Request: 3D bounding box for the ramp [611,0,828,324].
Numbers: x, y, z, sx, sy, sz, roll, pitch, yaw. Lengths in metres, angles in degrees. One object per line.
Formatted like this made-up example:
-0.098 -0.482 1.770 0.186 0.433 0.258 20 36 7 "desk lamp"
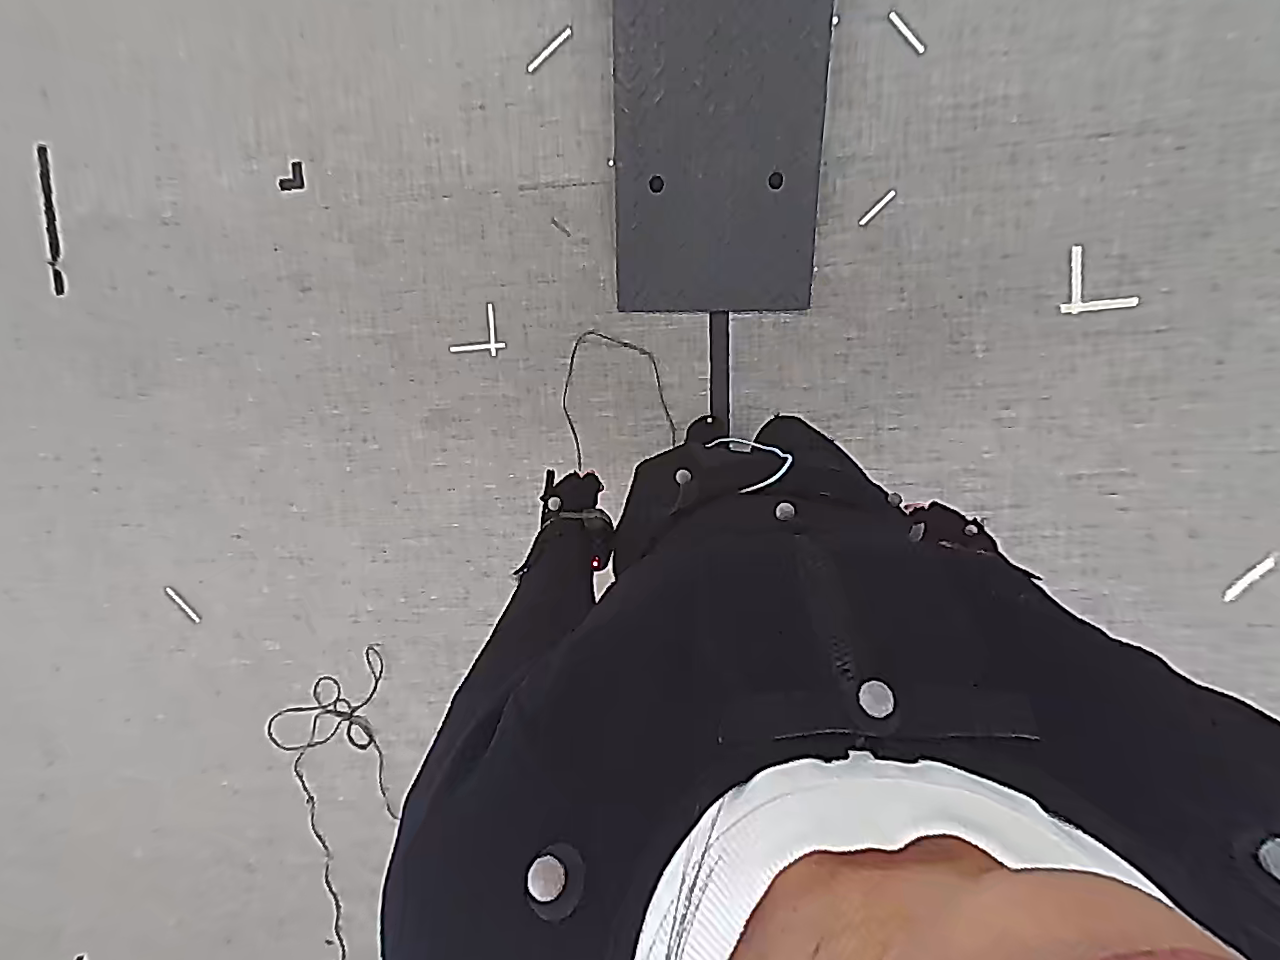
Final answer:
0.185 -0.895 1.275 0.509 0.206 0.991 -2 96 5 "ramp"
